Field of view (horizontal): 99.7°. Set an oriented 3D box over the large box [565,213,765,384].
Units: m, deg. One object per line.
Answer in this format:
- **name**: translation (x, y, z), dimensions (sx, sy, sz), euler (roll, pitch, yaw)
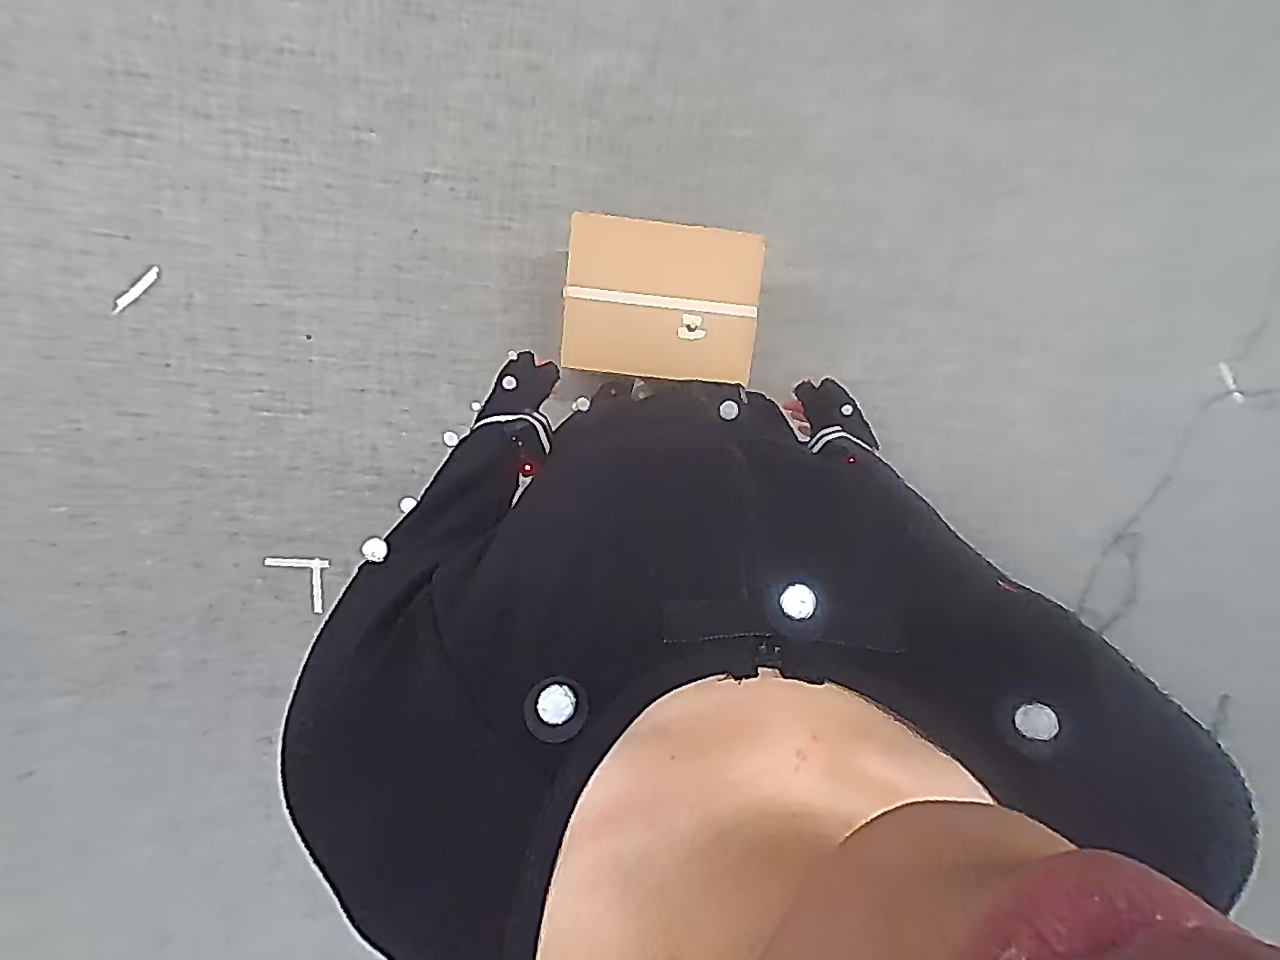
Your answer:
- **large box**: translation (0.041, -0.400, 1.277), dimensions (0.408, 0.320, 0.320), euler (5, 100, -4)
